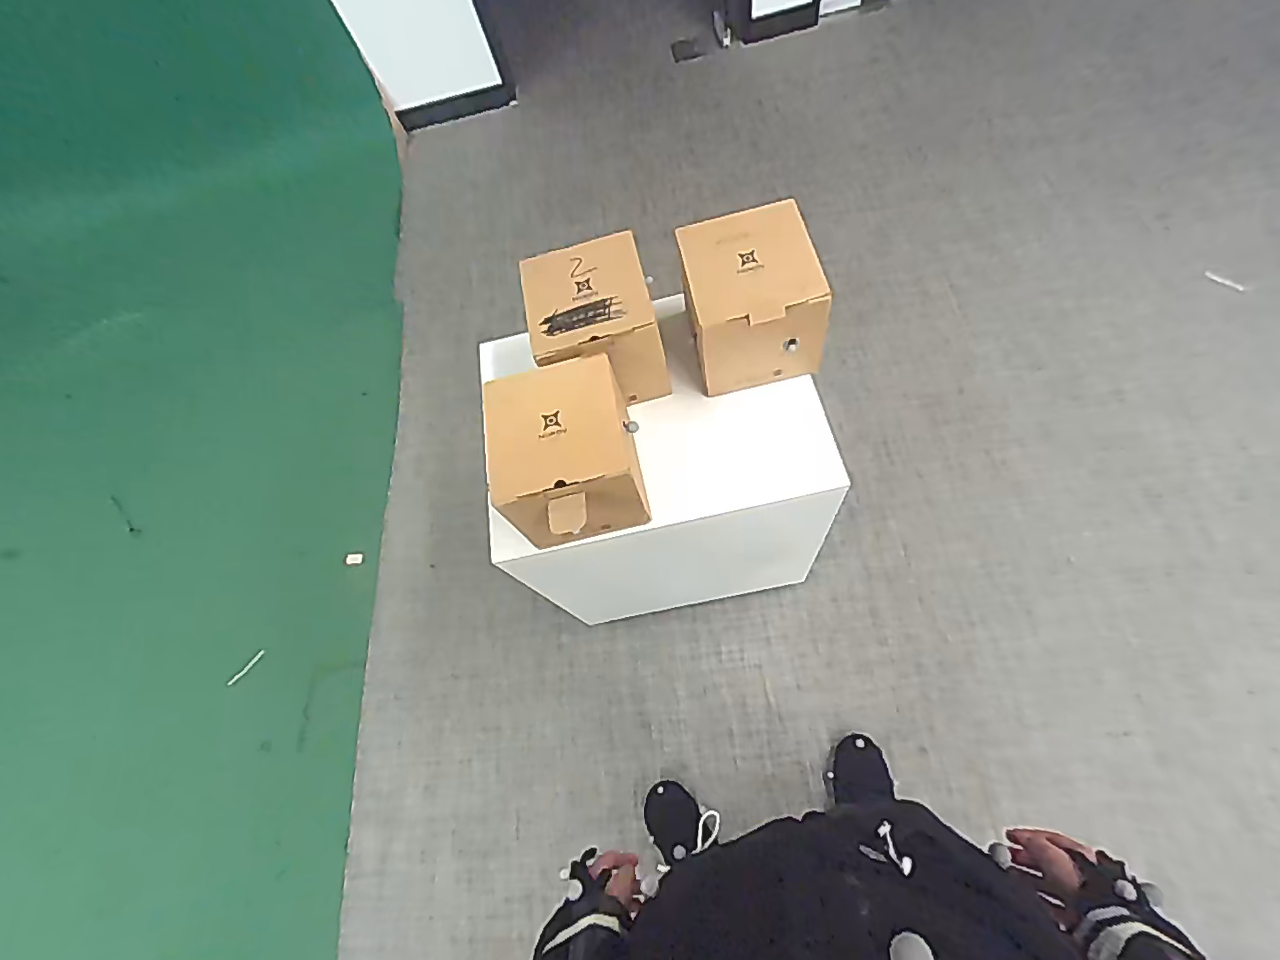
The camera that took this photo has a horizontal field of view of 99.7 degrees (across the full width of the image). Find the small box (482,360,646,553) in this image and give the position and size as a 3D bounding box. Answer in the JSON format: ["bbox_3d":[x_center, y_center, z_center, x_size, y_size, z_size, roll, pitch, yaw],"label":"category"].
[{"bbox_3d":[-0.094,-0.024,0.710,0.168,0.176,0.179,-14,64,3],"label":"small box"}]

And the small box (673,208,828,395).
[{"bbox_3d":[0.149,-0.238,0.764,0.168,0.176,0.179,-13,64,3],"label":"small box"}]
